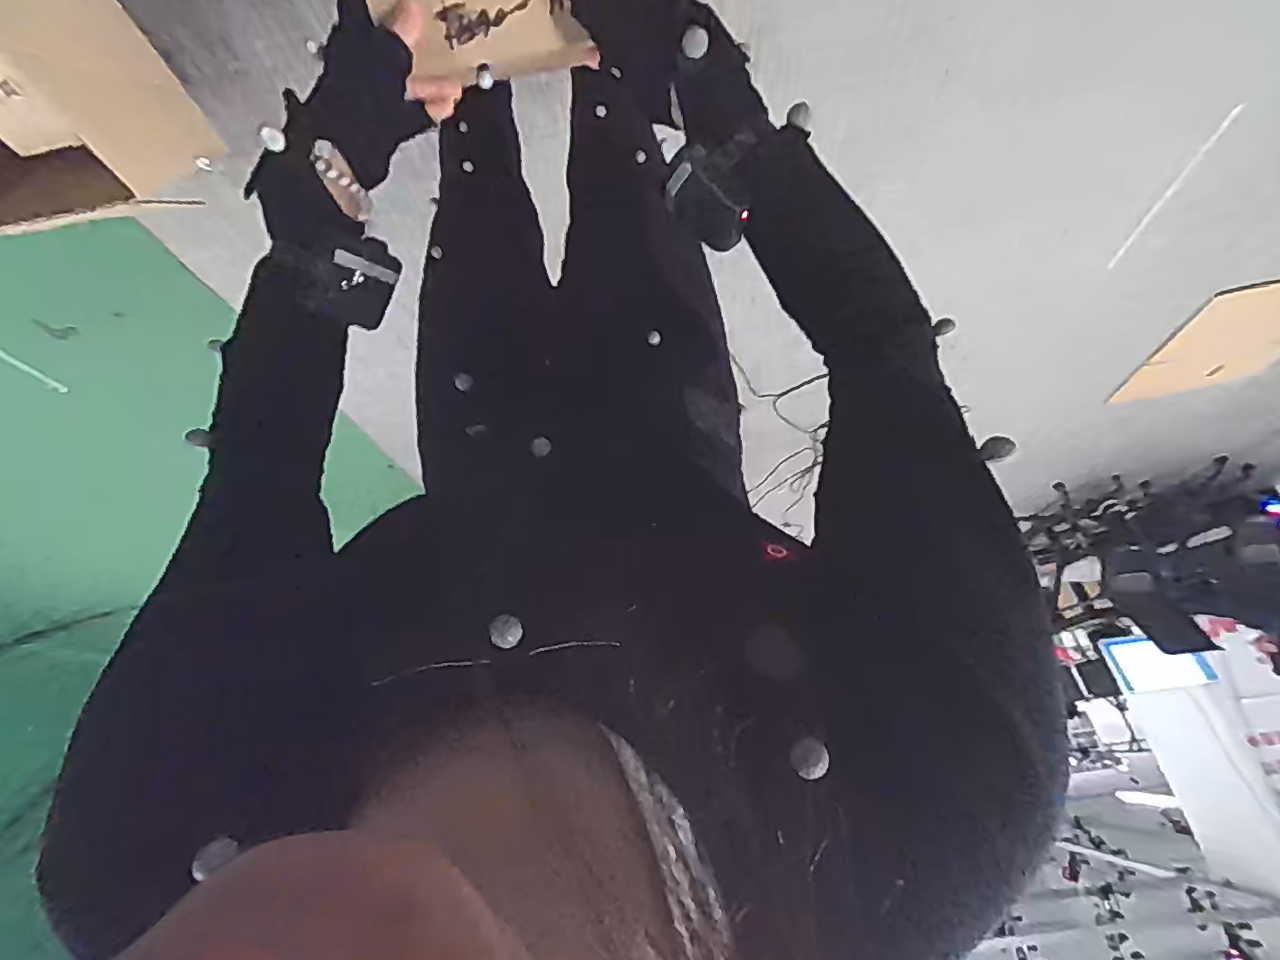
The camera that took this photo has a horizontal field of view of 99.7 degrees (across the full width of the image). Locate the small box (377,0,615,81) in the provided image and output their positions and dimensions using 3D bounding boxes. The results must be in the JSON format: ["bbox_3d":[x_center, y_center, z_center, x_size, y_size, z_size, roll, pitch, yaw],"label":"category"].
[{"bbox_3d":[-0.116,-0.428,0.415,0.168,0.176,0.179,-9,124,-1],"label":"small box"}]
